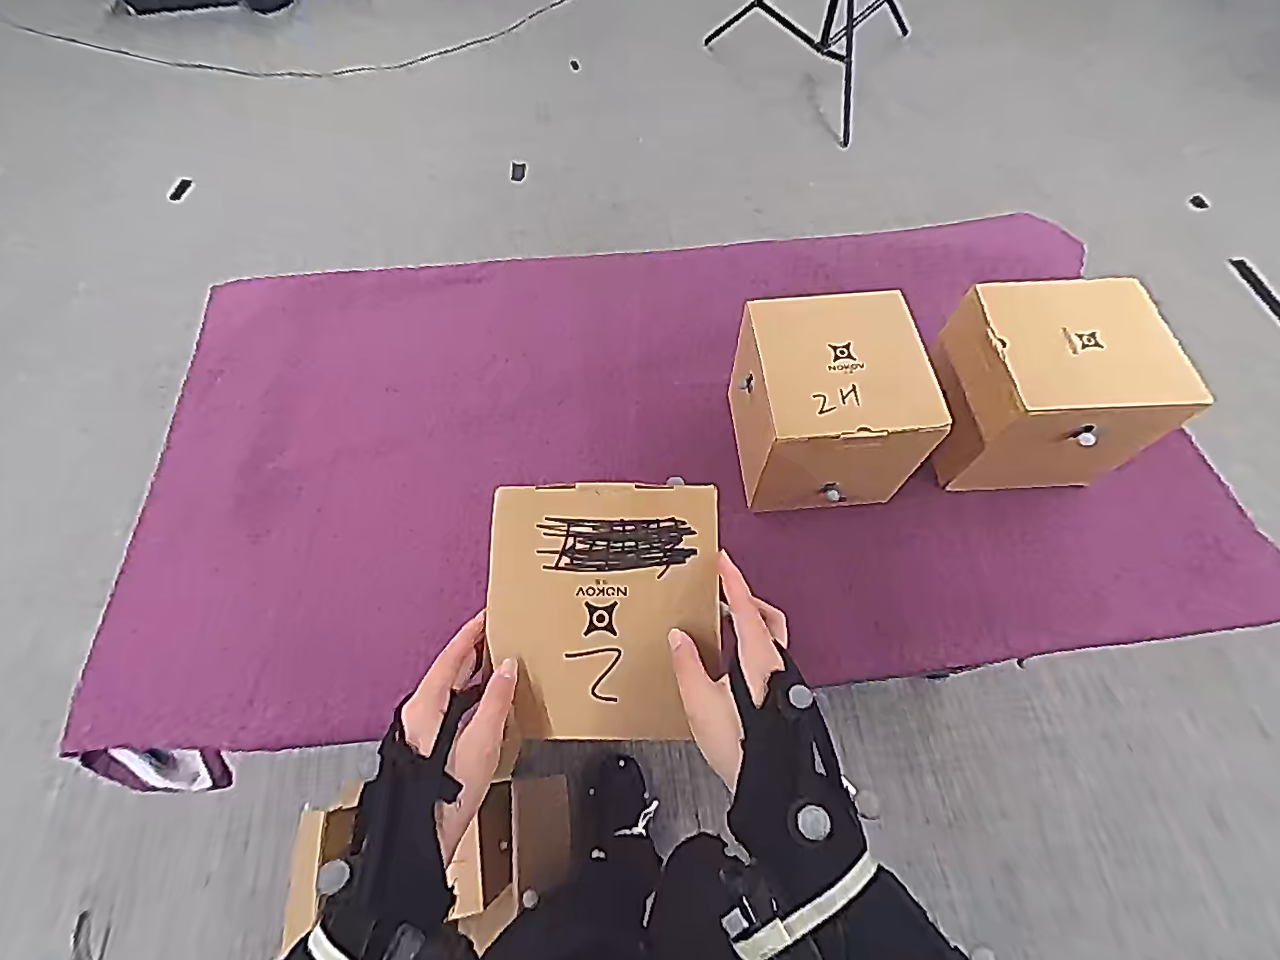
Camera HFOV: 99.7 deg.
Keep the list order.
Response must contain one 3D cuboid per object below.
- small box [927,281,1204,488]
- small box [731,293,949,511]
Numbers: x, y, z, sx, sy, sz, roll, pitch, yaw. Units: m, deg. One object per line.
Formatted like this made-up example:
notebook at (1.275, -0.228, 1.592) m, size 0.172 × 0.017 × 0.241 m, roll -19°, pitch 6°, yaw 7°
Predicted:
small box at (0.442, -0.100, 0.612) m, size 0.179 × 0.176 × 0.168 m, roll -2°, pitch 62°, yaw 1°
small box at (0.201, -0.082, 0.607) m, size 0.168 × 0.176 × 0.179 m, roll -4°, pitch 63°, yaw 0°
